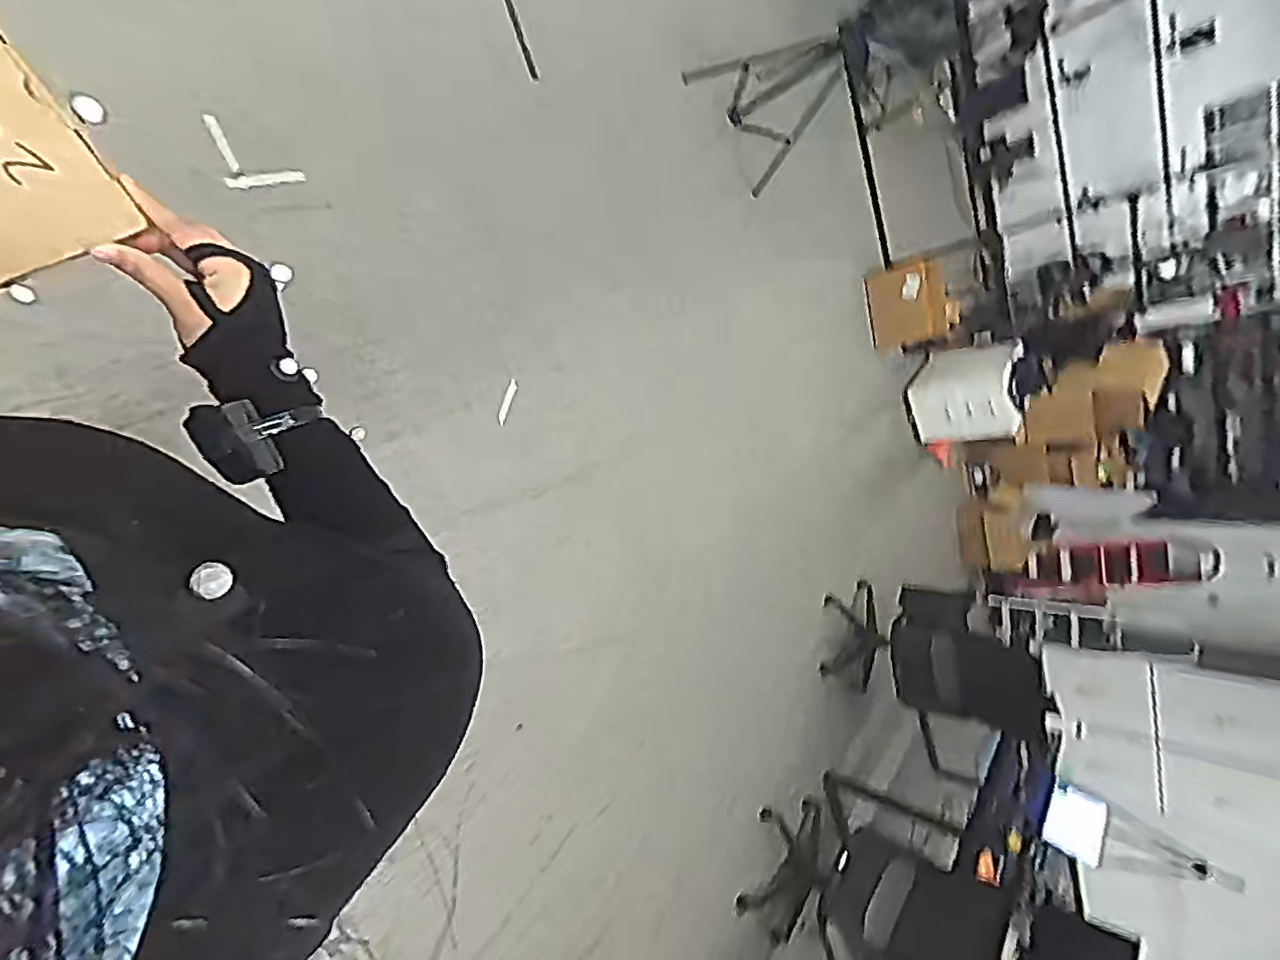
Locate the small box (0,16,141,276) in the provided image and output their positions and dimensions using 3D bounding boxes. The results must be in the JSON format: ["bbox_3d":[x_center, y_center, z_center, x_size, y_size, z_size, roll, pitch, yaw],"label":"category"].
[{"bbox_3d":[-0.477,-0.221,0.351,0.179,0.176,0.168,-37,132,-20],"label":"small box"}]
